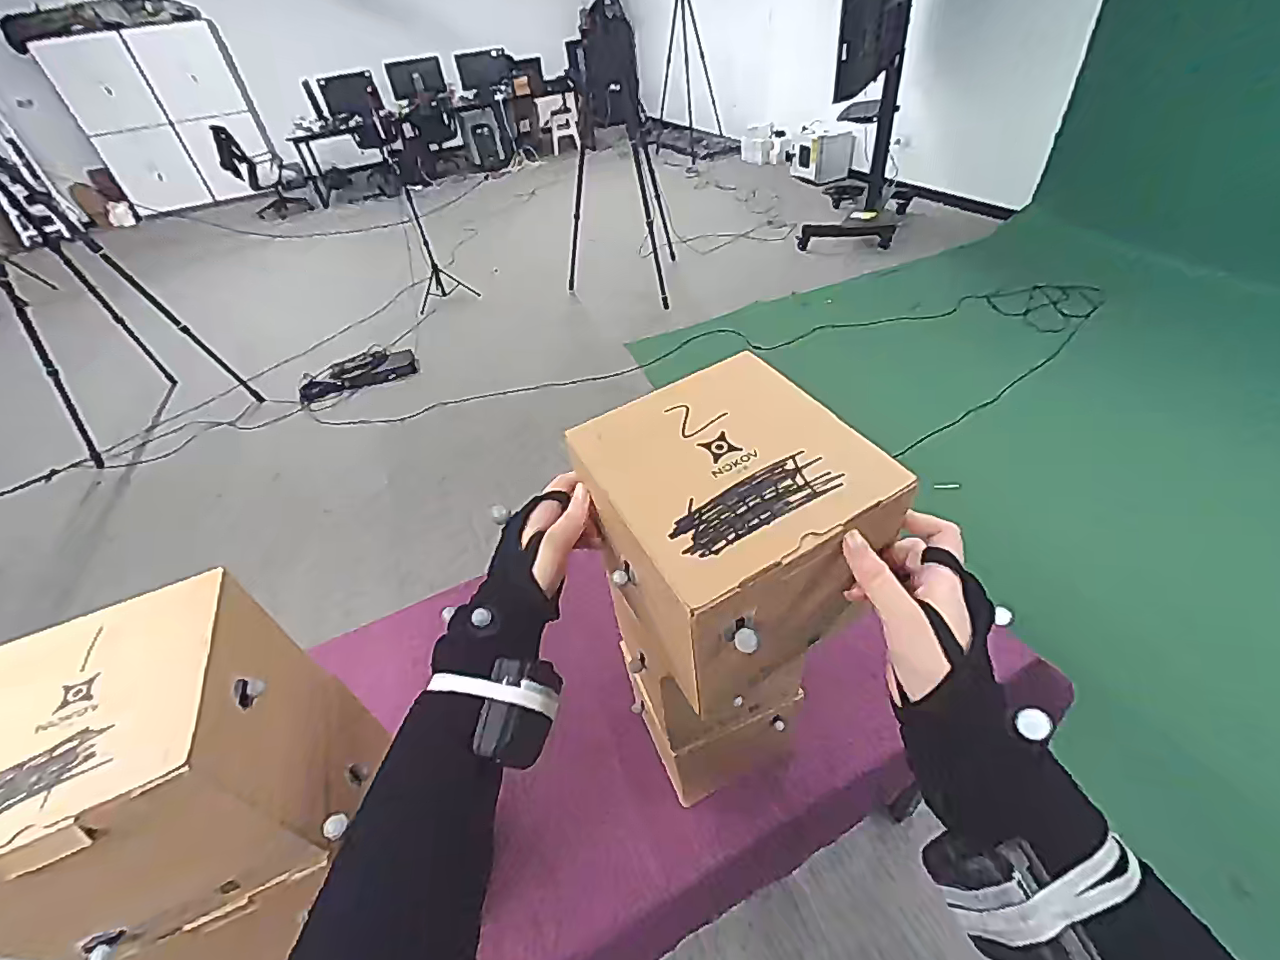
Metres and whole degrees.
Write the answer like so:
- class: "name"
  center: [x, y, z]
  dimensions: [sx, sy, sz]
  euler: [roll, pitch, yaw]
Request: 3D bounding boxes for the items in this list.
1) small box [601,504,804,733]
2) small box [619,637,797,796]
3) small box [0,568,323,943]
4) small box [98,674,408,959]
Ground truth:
- class: "small box"
  center: [0.068, 0.164, 0.626]
  dimensions: [0.168, 0.176, 0.179]
  euler: [-18, 42, -11]
- class: "small box"
  center: [0.091, 0.289, 0.732]
  dimensions: [0.179, 0.176, 0.168]
  euler: [-20, 43, -12]
- class: "small box"
  center: [-0.365, 0.207, 0.411]
  dimensions: [0.168, 0.176, 0.179]
  euler: [-22, 42, -15]
- class: "small box"
  center: [-0.337, 0.329, 0.518]
  dimensions: [0.168, 0.176, 0.179]
  euler: [-19, 42, -12]
